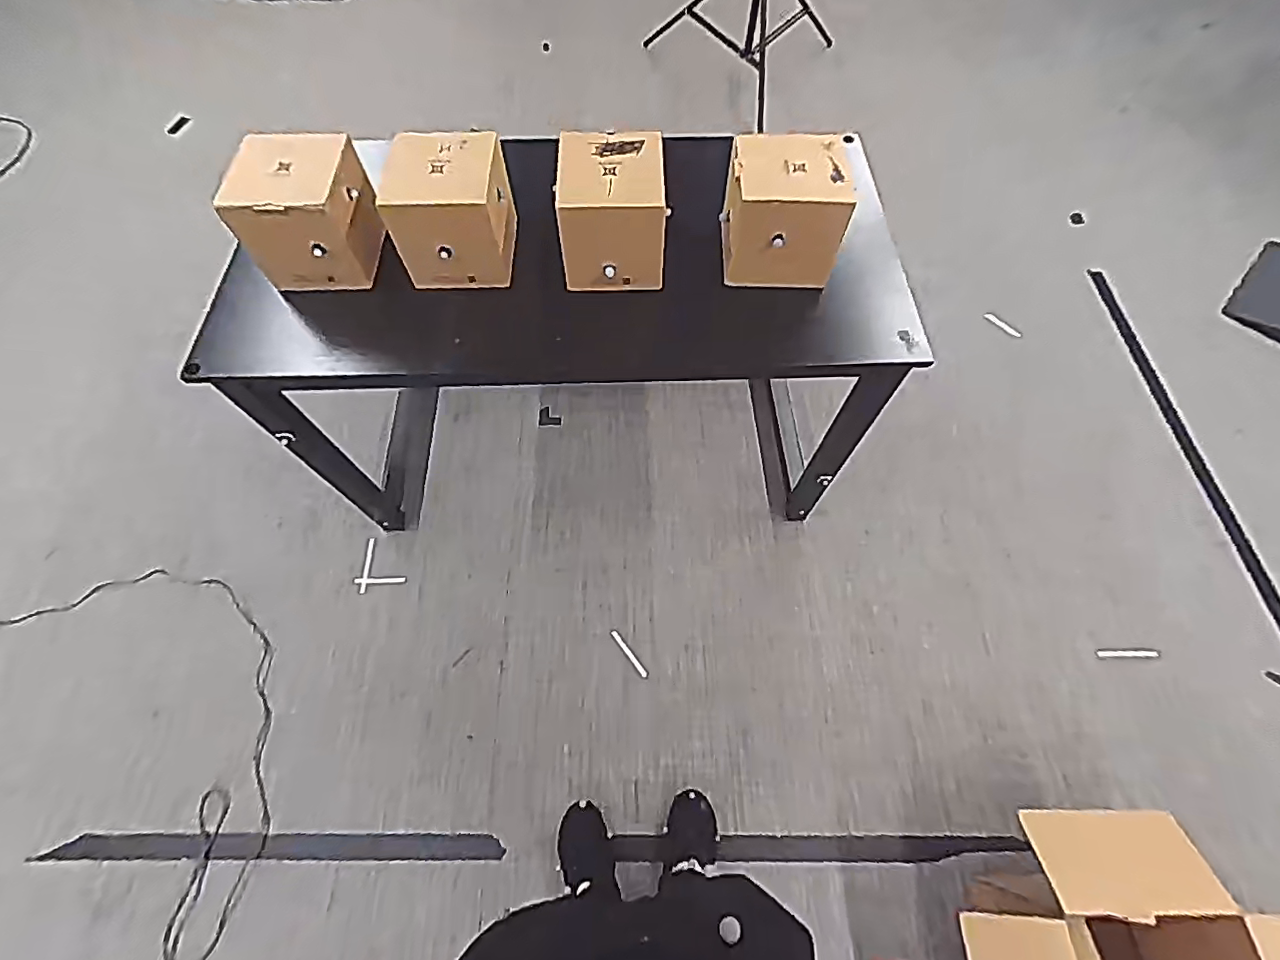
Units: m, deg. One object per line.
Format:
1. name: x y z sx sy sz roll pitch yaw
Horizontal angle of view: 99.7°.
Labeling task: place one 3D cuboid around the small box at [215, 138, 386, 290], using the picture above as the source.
1. small box: -0.551 -0.439 0.909 0.168 0.176 0.179 -1 63 -2

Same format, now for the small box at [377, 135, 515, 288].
1. small box: -0.312 -0.444 0.909 0.168 0.176 0.179 -1 63 -1

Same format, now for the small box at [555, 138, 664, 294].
1. small box: -0.047 -0.439 0.909 0.168 0.176 0.179 -1 64 0

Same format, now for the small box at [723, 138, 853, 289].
1. small box: 0.235 -0.441 0.910 0.179 0.176 0.168 1 63 2
